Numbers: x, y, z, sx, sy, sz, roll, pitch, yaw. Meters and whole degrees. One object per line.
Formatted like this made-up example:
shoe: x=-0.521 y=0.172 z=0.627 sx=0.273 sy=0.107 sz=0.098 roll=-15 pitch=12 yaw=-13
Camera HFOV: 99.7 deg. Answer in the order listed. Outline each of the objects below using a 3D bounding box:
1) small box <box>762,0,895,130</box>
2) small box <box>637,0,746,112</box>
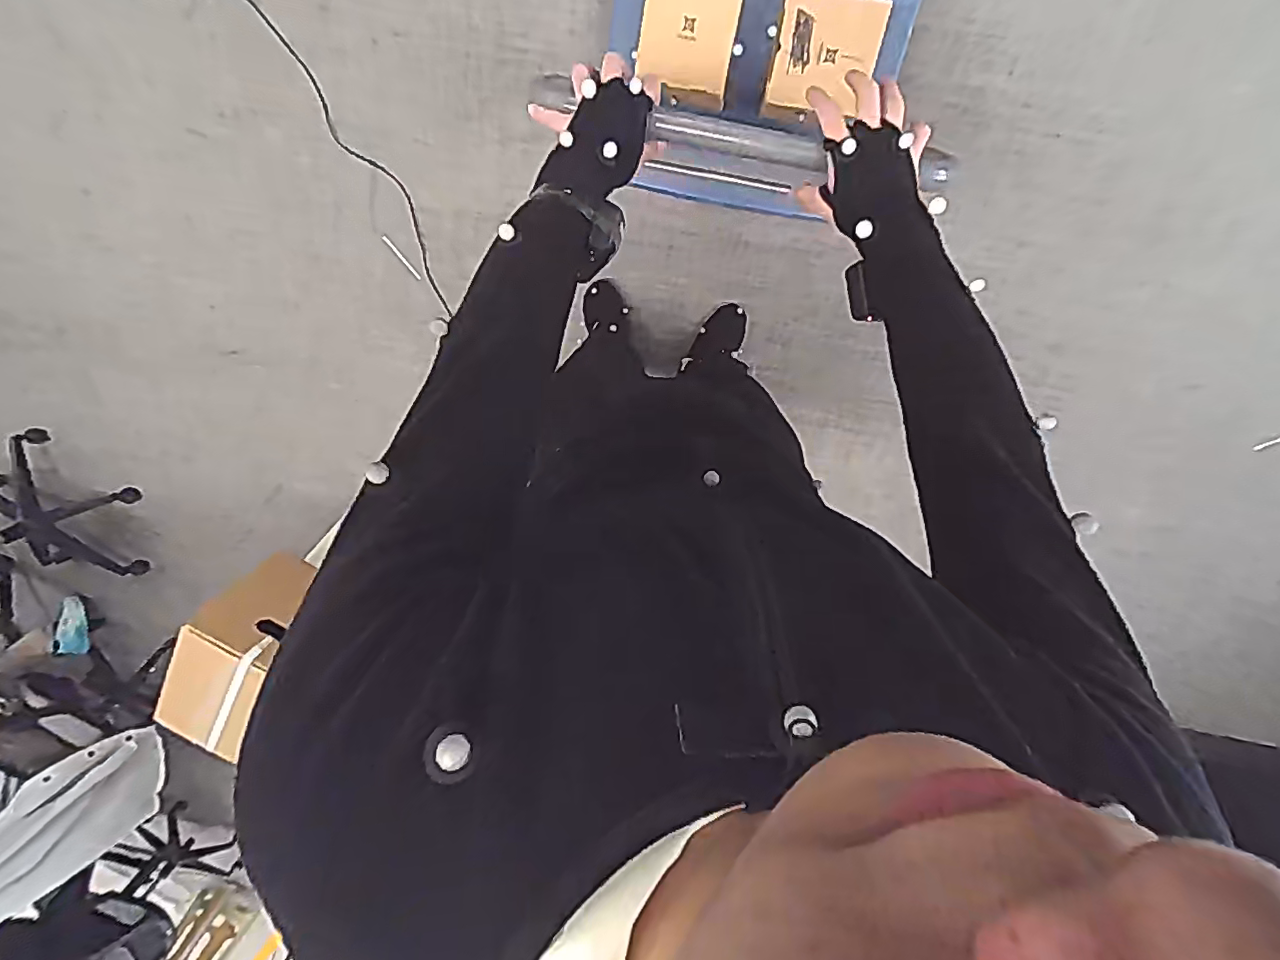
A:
small box: x=0.332 y=-0.764 z=1.000 sx=0.179 sy=0.176 sz=0.168 roll=11 pitch=118 yaw=2
small box: x=0.096 y=-0.818 z=1.011 sx=0.168 sy=0.176 sz=0.179 roll=13 pitch=118 yaw=1
